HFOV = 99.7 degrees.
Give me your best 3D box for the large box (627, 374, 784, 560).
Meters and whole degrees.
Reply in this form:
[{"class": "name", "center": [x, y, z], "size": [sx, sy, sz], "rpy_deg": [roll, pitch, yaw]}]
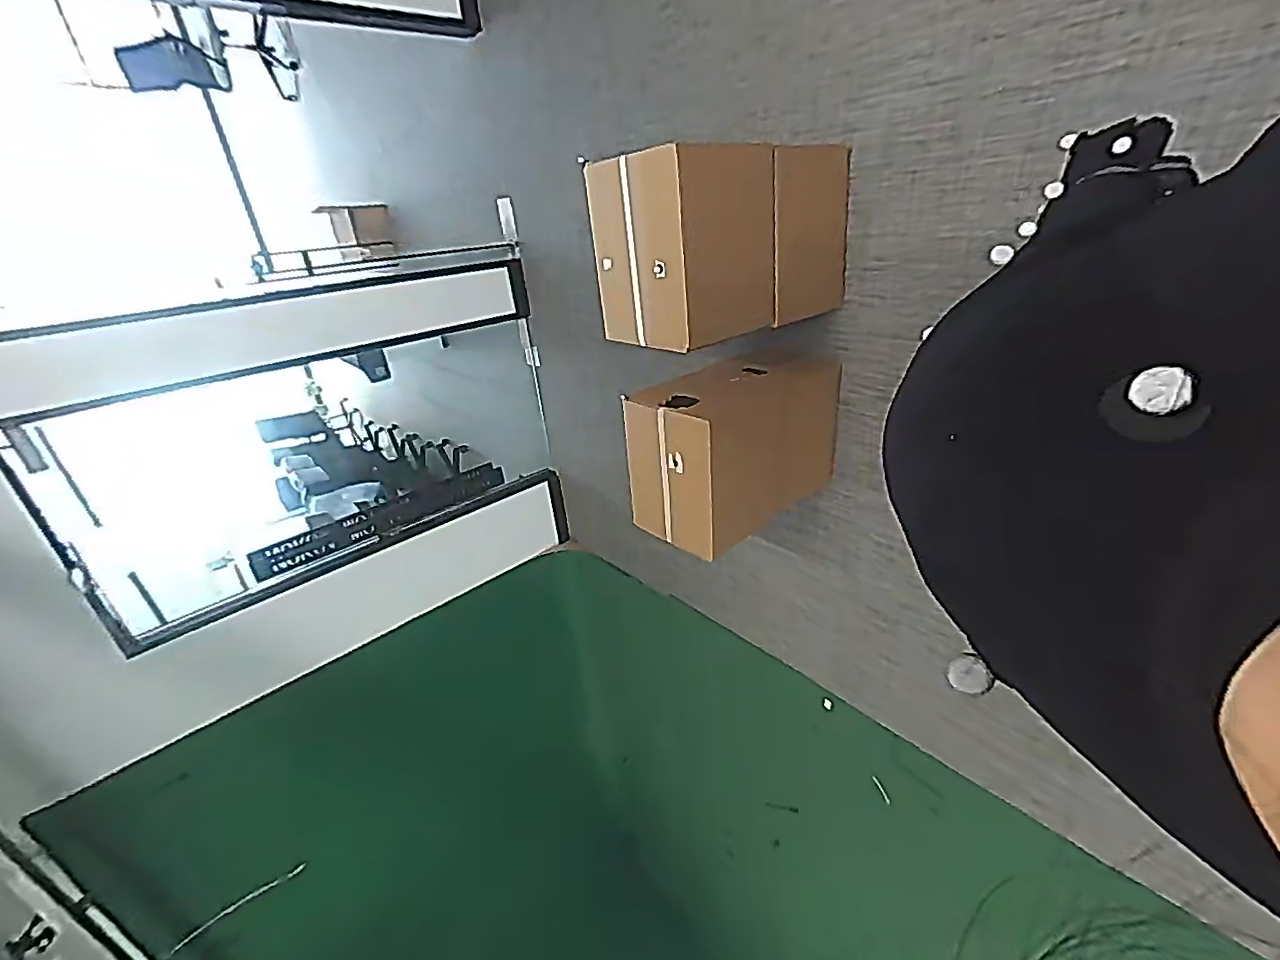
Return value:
[{"class": "large box", "center": [0.190, -0.053, 1.530], "size": [0.320, 0.320, 0.408], "rpy_deg": [22, 126, 43]}]
